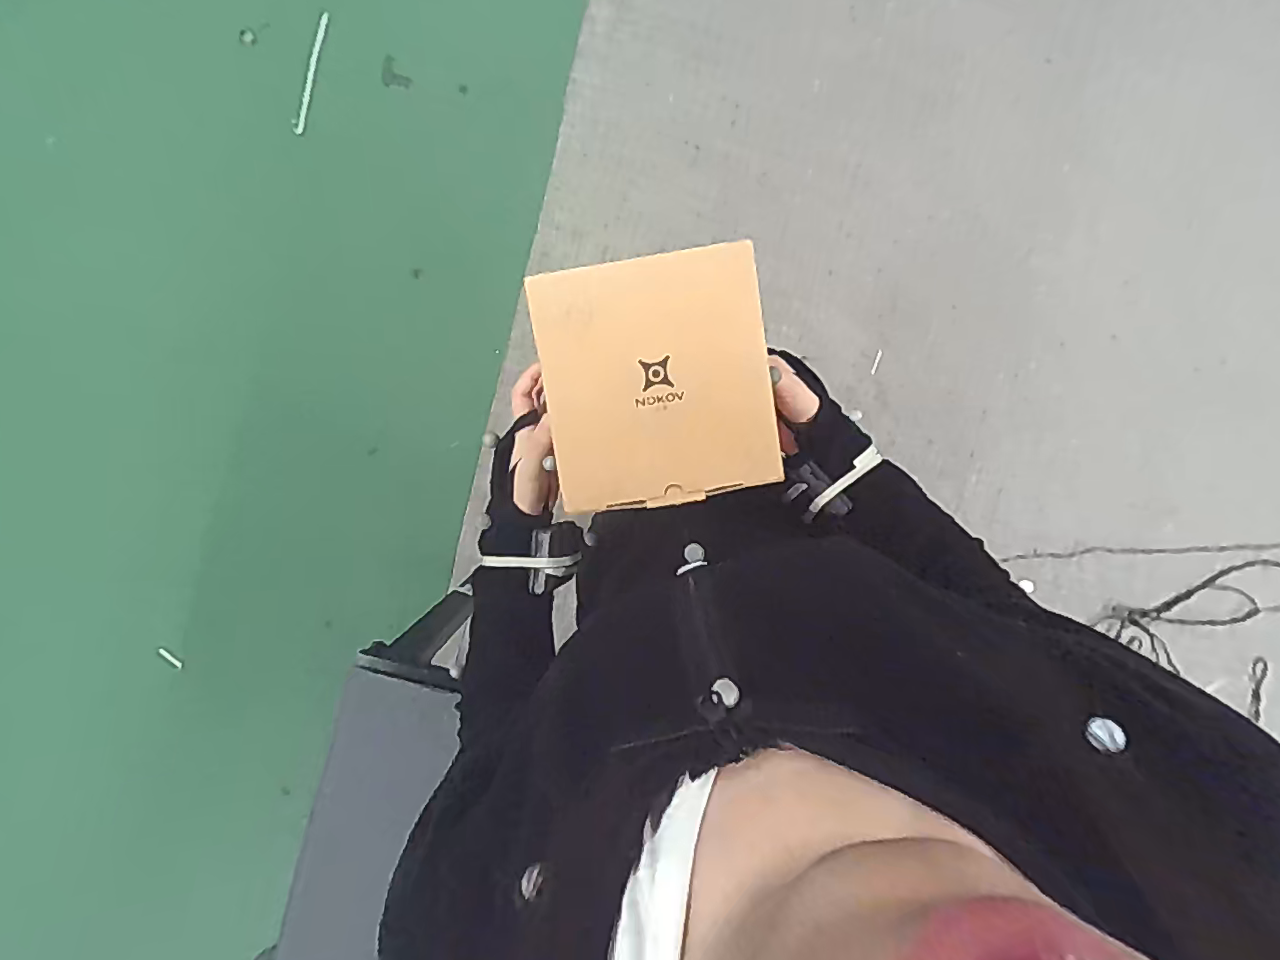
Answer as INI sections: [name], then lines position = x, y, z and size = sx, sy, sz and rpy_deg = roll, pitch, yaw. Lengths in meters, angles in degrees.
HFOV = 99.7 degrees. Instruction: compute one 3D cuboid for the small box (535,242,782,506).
[small box]
position = 0.012, -0.082, 0.474
size = 0.168, 0.176, 0.179
rpy_deg = -8, 96, 0
